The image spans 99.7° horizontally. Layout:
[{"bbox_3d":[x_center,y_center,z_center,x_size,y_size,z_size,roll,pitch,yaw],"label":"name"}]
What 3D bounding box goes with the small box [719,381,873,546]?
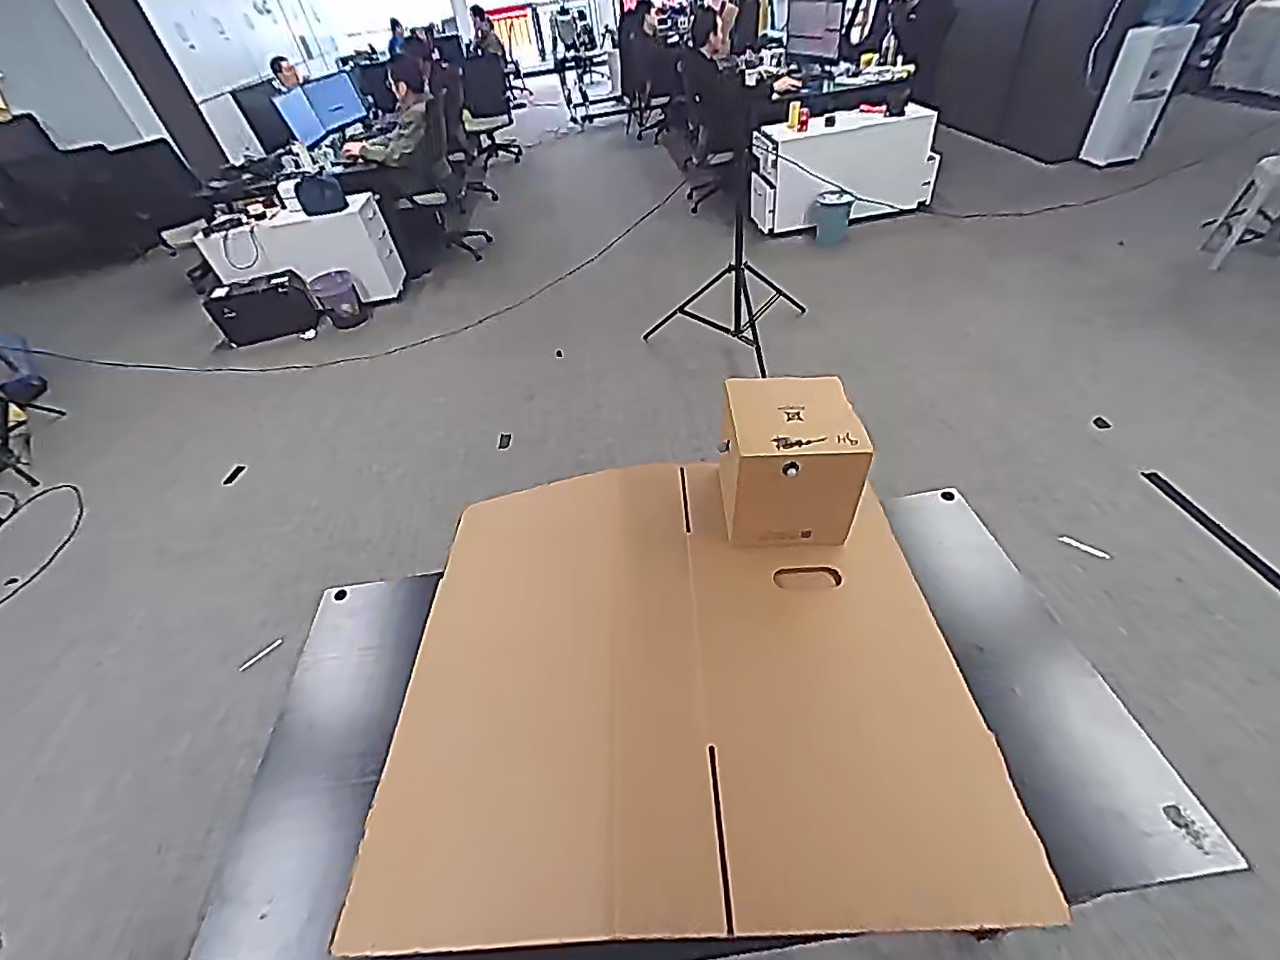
[{"bbox_3d":[0.206,-0.025,0.772,0.168,0.176,0.179,-2,42,2],"label":"small box"}]
